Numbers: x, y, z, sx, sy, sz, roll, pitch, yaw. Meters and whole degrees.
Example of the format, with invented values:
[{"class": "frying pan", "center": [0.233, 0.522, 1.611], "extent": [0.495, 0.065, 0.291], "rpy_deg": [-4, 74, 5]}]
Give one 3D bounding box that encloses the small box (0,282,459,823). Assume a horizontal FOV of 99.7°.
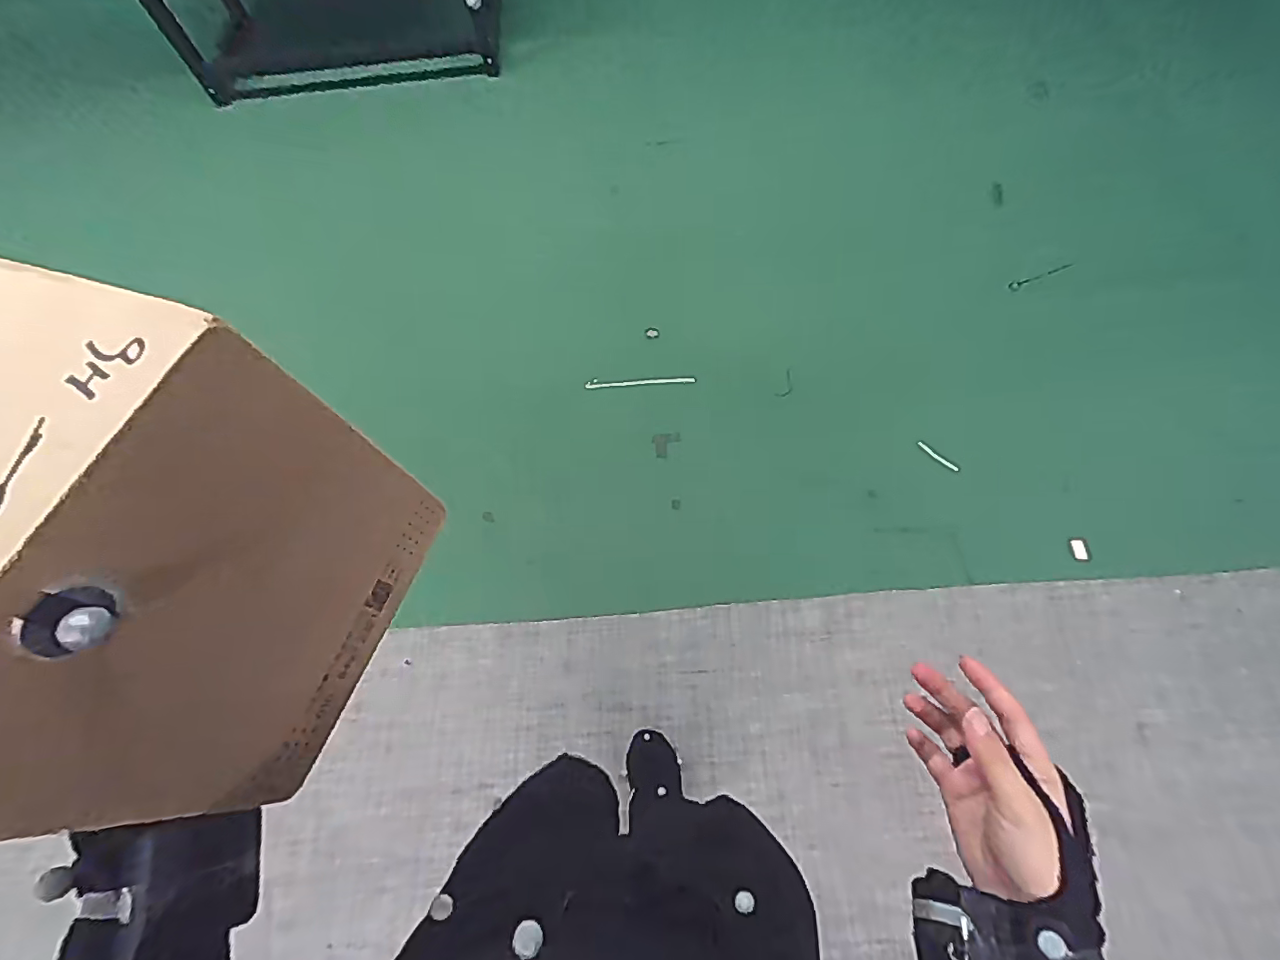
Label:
[{"class": "small box", "center": [-0.224, 0.038, 0.253], "extent": [0.179, 0.176, 0.168], "rpy_deg": [15, 68, 16]}]
